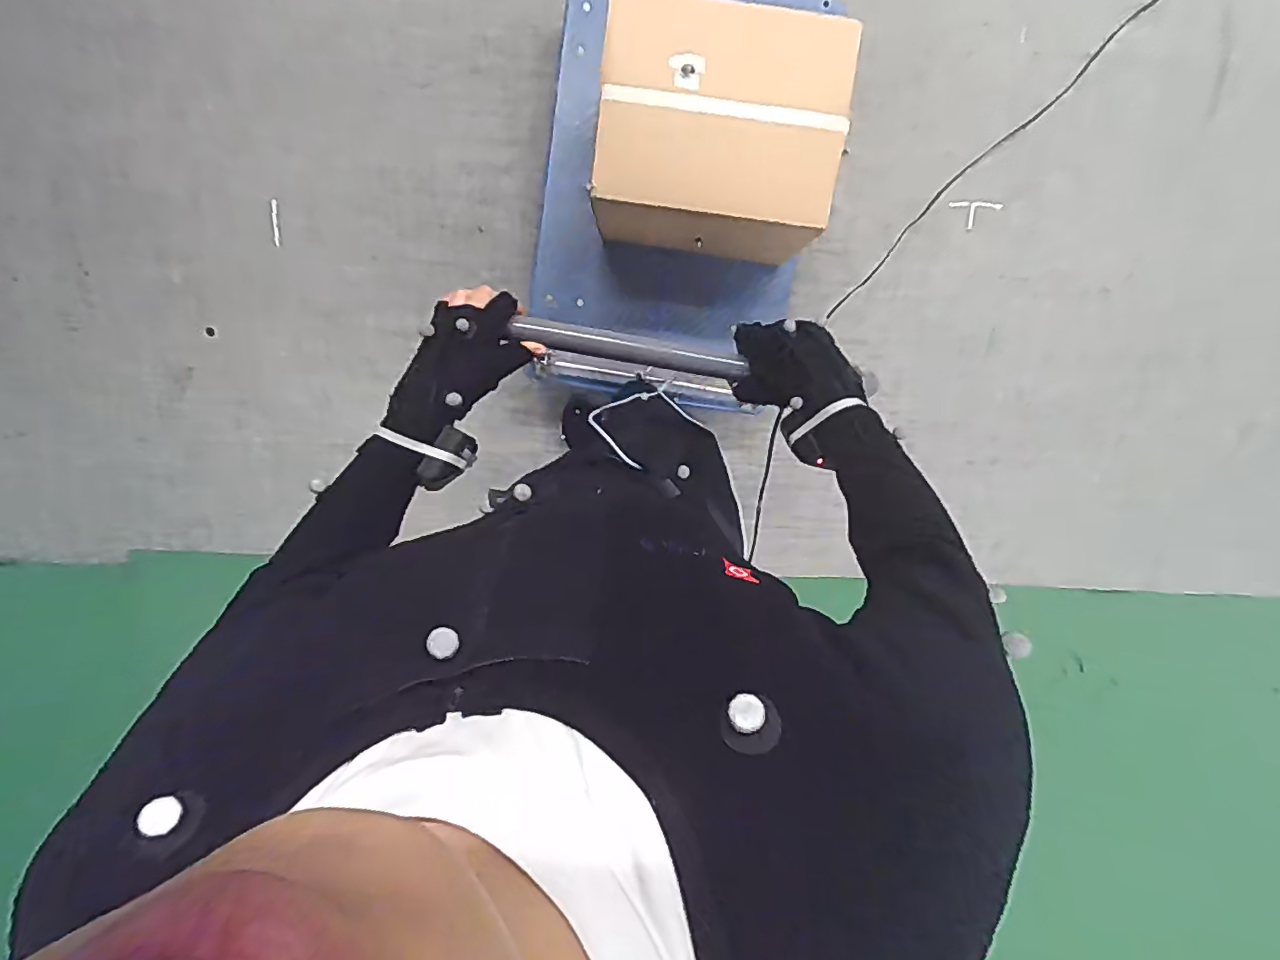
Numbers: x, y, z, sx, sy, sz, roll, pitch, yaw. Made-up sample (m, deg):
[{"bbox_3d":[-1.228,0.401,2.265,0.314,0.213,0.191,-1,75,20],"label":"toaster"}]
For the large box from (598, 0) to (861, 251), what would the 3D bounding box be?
[{"bbox_3d":[0.146,-0.642,1.030,0.408,0.320,0.320,7,101,0],"label":"large box"}]
